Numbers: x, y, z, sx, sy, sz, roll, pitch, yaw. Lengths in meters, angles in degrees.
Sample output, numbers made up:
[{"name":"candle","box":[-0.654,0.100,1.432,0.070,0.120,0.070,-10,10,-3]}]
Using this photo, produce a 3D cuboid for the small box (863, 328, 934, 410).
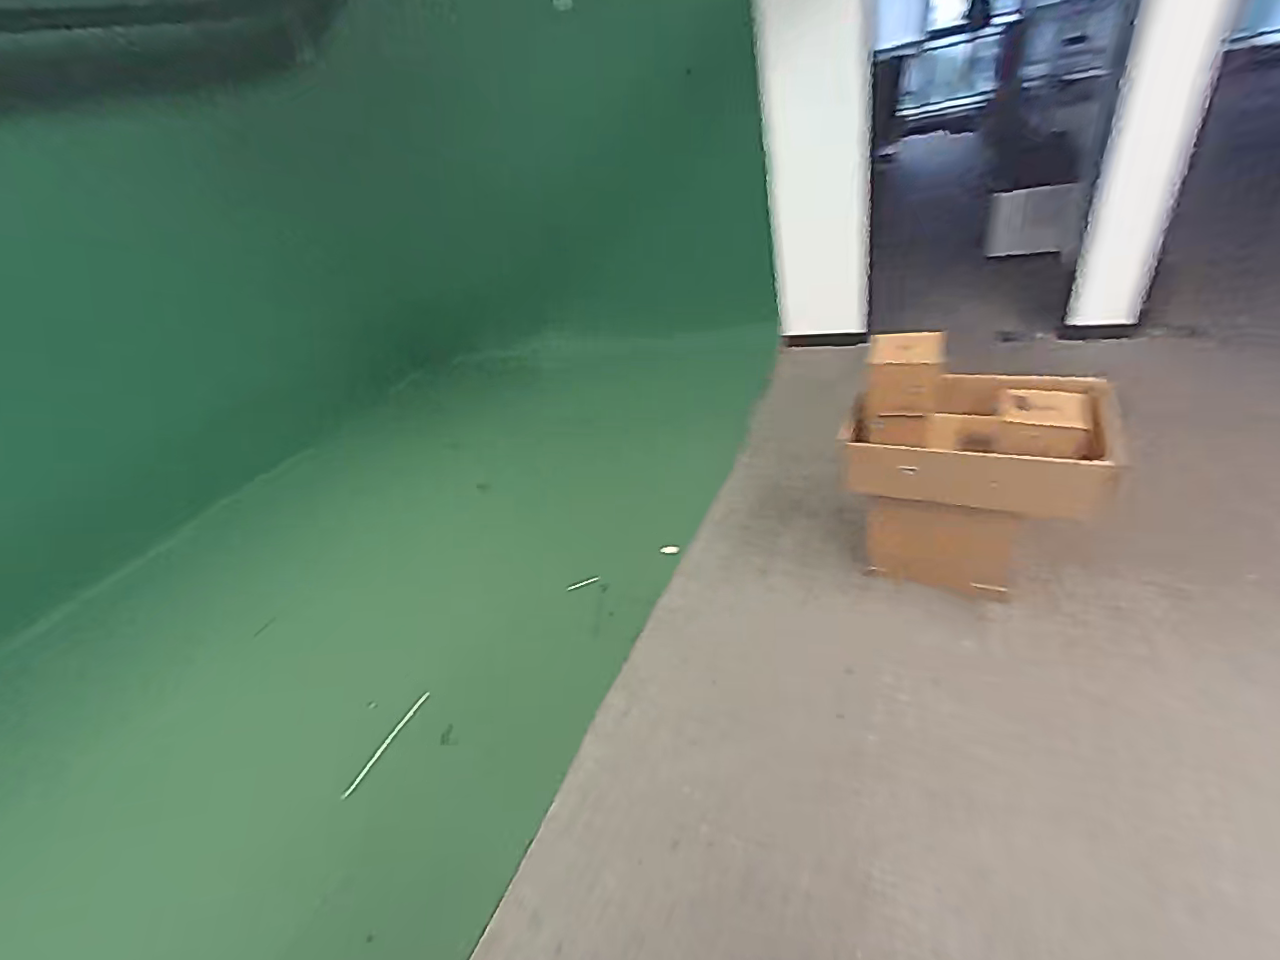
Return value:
[{"name":"small box","box":[0.721,-0.307,1.512,0.168,0.176,0.179,5,41,26]}]
